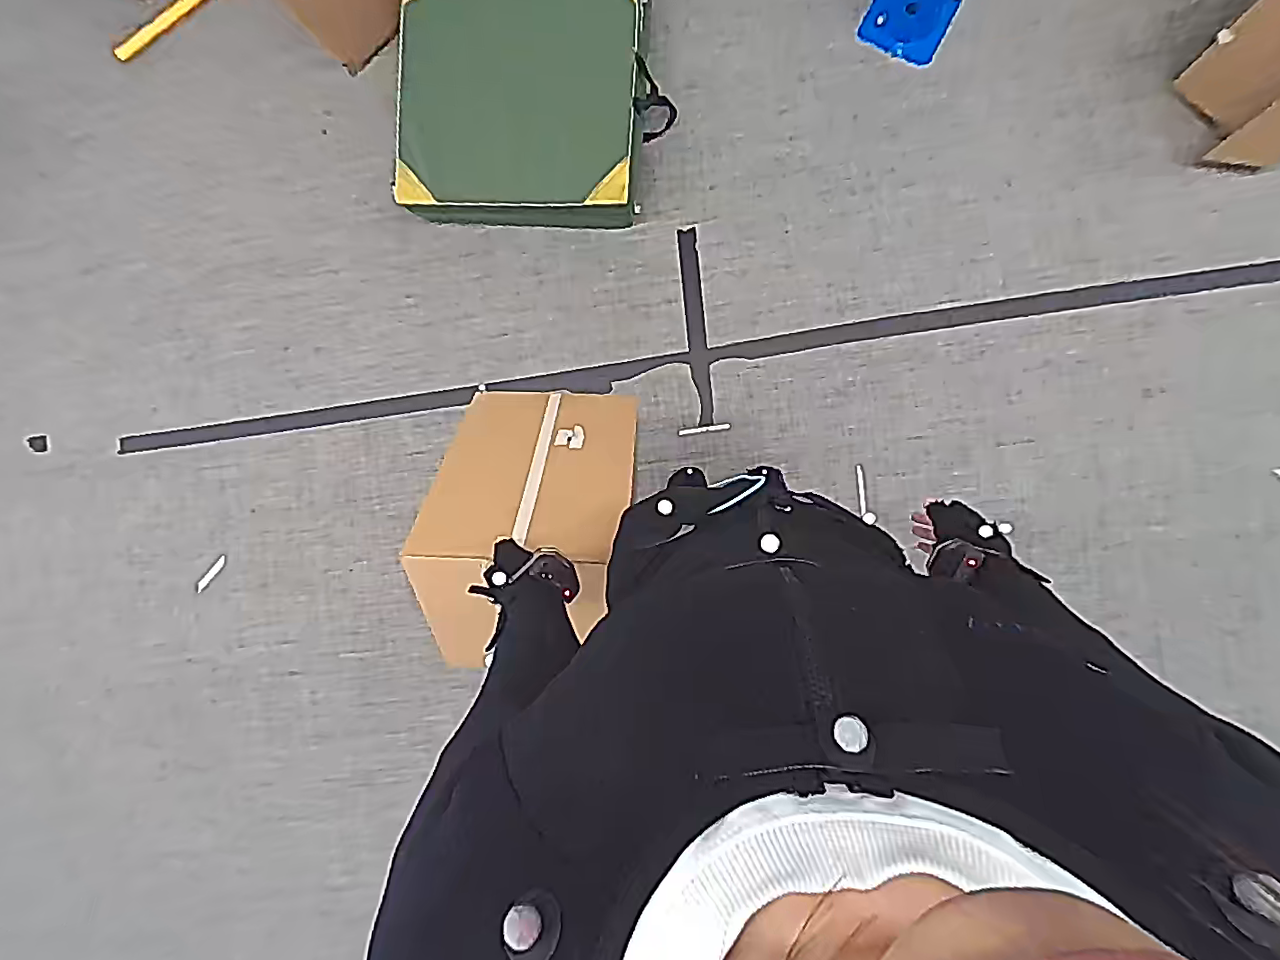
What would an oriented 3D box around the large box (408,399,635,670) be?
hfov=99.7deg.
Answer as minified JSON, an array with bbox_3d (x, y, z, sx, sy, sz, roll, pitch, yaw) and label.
[{"bbox_3d":[-0.171,0.094,1.001,0.320,0.408,0.320,3,132,1],"label":"large box"}]
